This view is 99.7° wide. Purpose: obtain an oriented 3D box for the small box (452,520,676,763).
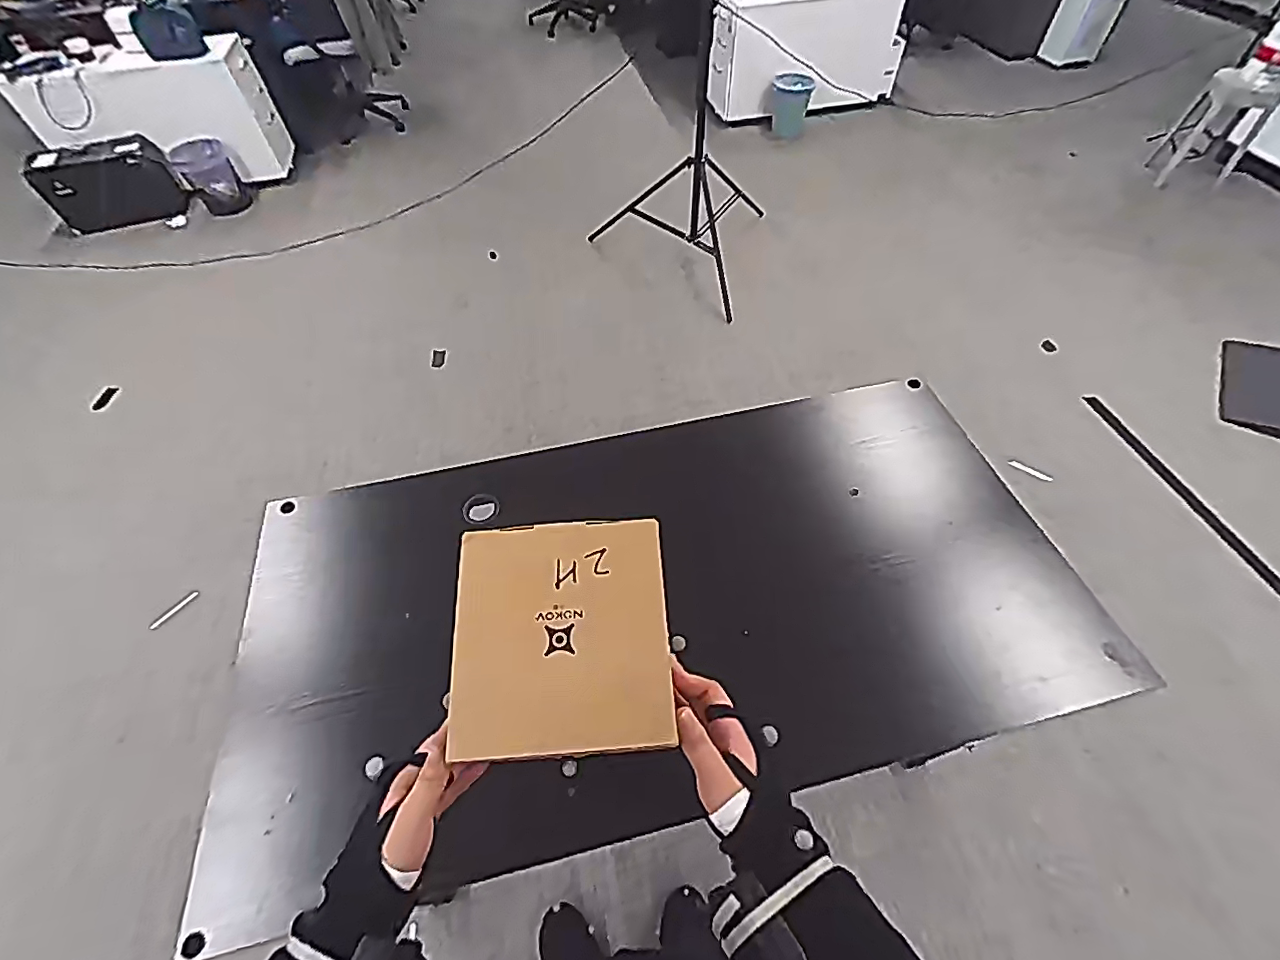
[{"bbox_3d":[-0.057,0.152,0.491,0.168,0.176,0.179,-4,62,-2],"label":"small box"}]
